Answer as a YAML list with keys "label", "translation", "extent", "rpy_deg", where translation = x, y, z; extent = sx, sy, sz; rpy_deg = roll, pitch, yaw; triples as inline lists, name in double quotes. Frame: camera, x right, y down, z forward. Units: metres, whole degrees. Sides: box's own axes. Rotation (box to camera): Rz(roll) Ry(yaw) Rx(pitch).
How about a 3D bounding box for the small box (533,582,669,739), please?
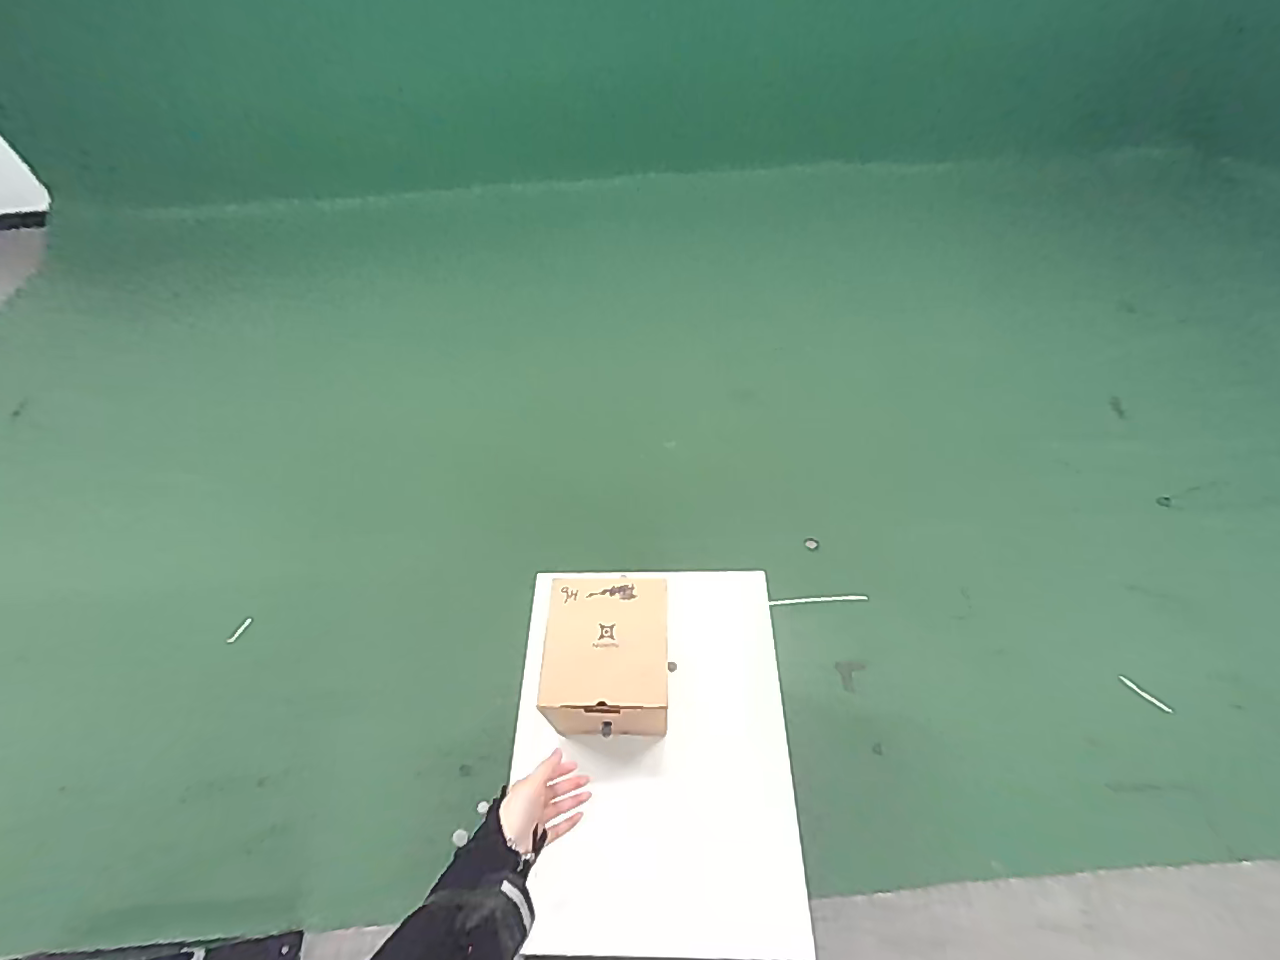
- label: "small box"
  translation: [-0.043, 0.258, 0.761]
  extent: [0.168, 0.176, 0.179]
  rpy_deg: [0, 55, 2]
